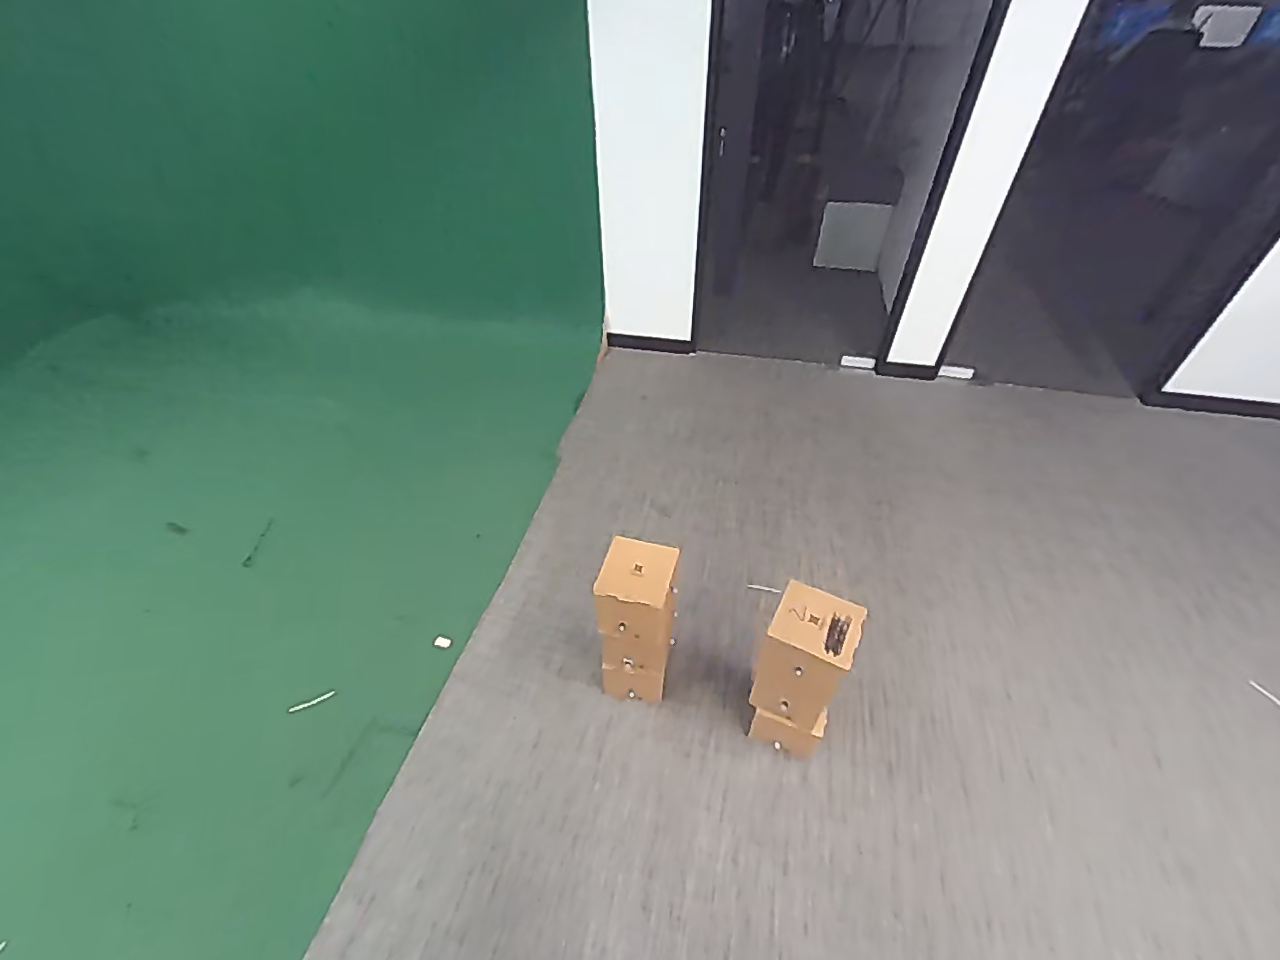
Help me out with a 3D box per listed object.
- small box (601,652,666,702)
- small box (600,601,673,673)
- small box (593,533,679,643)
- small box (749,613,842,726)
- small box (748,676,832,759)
[{"bbox_3d":[-0.012,0.497,1.531,0.168,0.176,0.179,6,44,7],"label":"small box"},{"bbox_3d":[-0.006,0.377,1.422,0.168,0.176,0.179,6,44,7],"label":"small box"},{"bbox_3d":[-0.007,0.261,1.308,0.168,0.176,0.179,11,44,12],"label":"small box"},{"bbox_3d":[0.375,0.467,1.326,0.168,0.176,0.179,20,47,19],"label":"small box"},{"bbox_3d":[0.391,0.596,1.426,0.168,0.176,0.179,16,46,17],"label":"small box"}]
